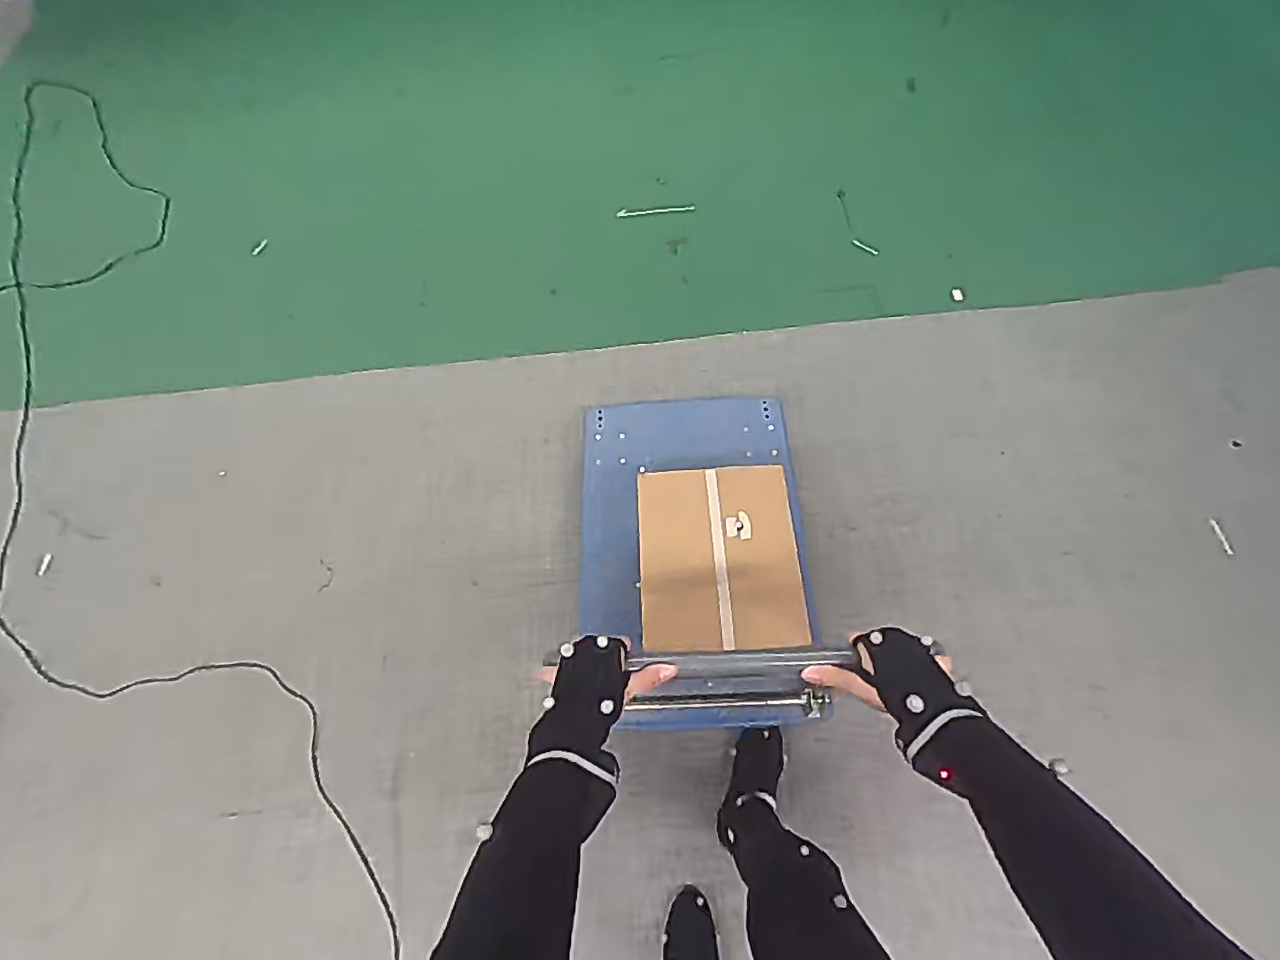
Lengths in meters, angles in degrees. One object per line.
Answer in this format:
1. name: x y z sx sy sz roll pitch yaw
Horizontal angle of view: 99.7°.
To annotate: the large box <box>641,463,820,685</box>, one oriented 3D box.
1. large box: 0.174 0.218 1.198 0.320 0.320 0.408 -3 63 1
